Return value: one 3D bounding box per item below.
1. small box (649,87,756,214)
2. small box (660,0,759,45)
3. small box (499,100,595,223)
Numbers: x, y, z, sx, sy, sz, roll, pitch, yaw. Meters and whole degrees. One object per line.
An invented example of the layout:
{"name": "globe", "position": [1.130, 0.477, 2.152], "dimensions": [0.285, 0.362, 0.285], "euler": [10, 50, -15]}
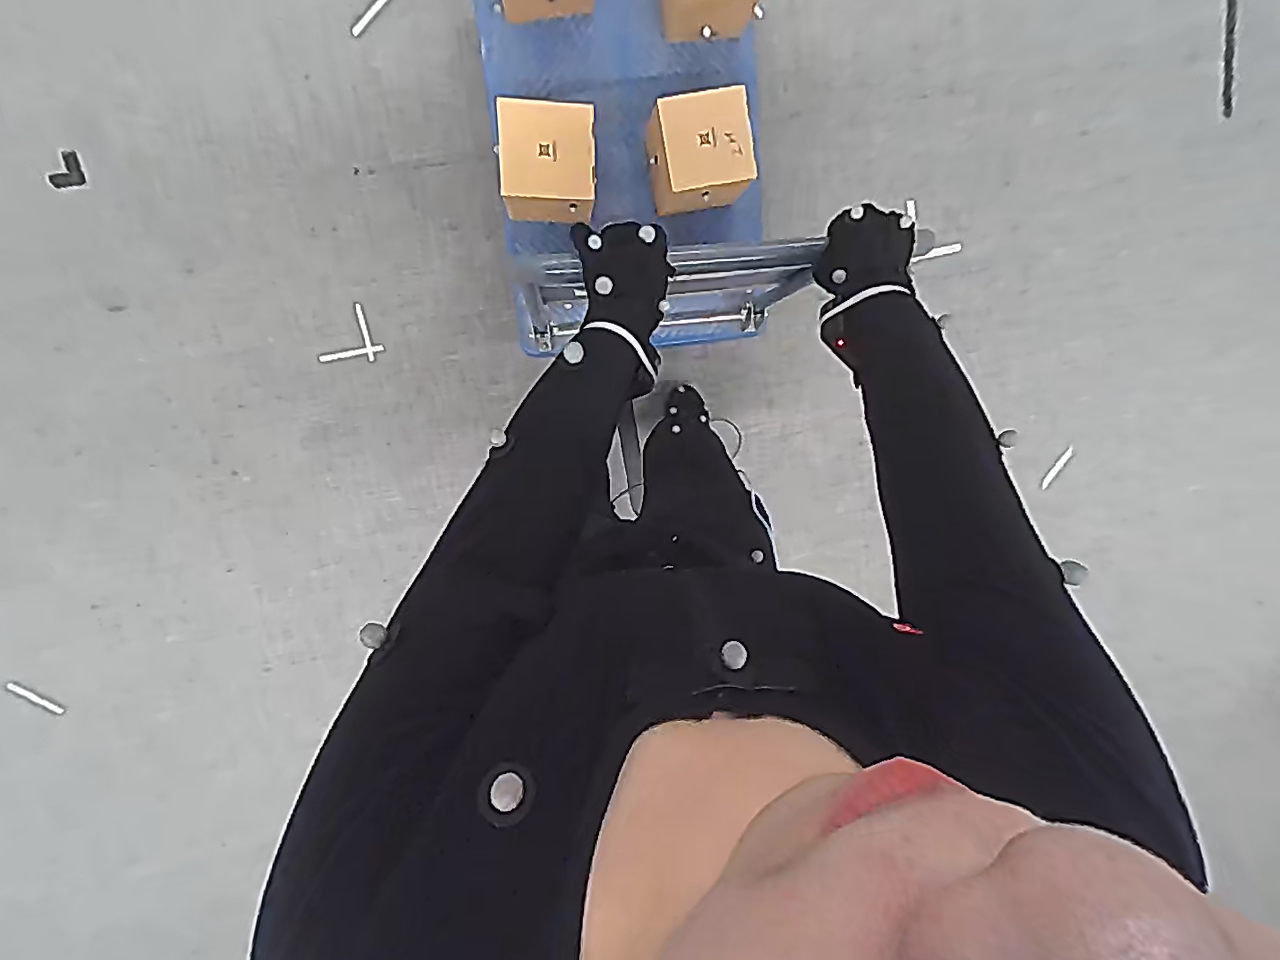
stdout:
{"name": "small box", "position": [0.120, -0.668, 1.117], "dimensions": [0.179, 0.176, 0.168], "euler": [-13, 102, -5]}
{"name": "small box", "position": [0.131, -1.000, 1.055], "dimensions": [0.168, 0.176, 0.179], "euler": [-11, 103, -6]}
{"name": "small box", "position": [-0.182, -0.626, 1.083], "dimensions": [0.179, 0.176, 0.168], "euler": [-2, 101, -9]}
